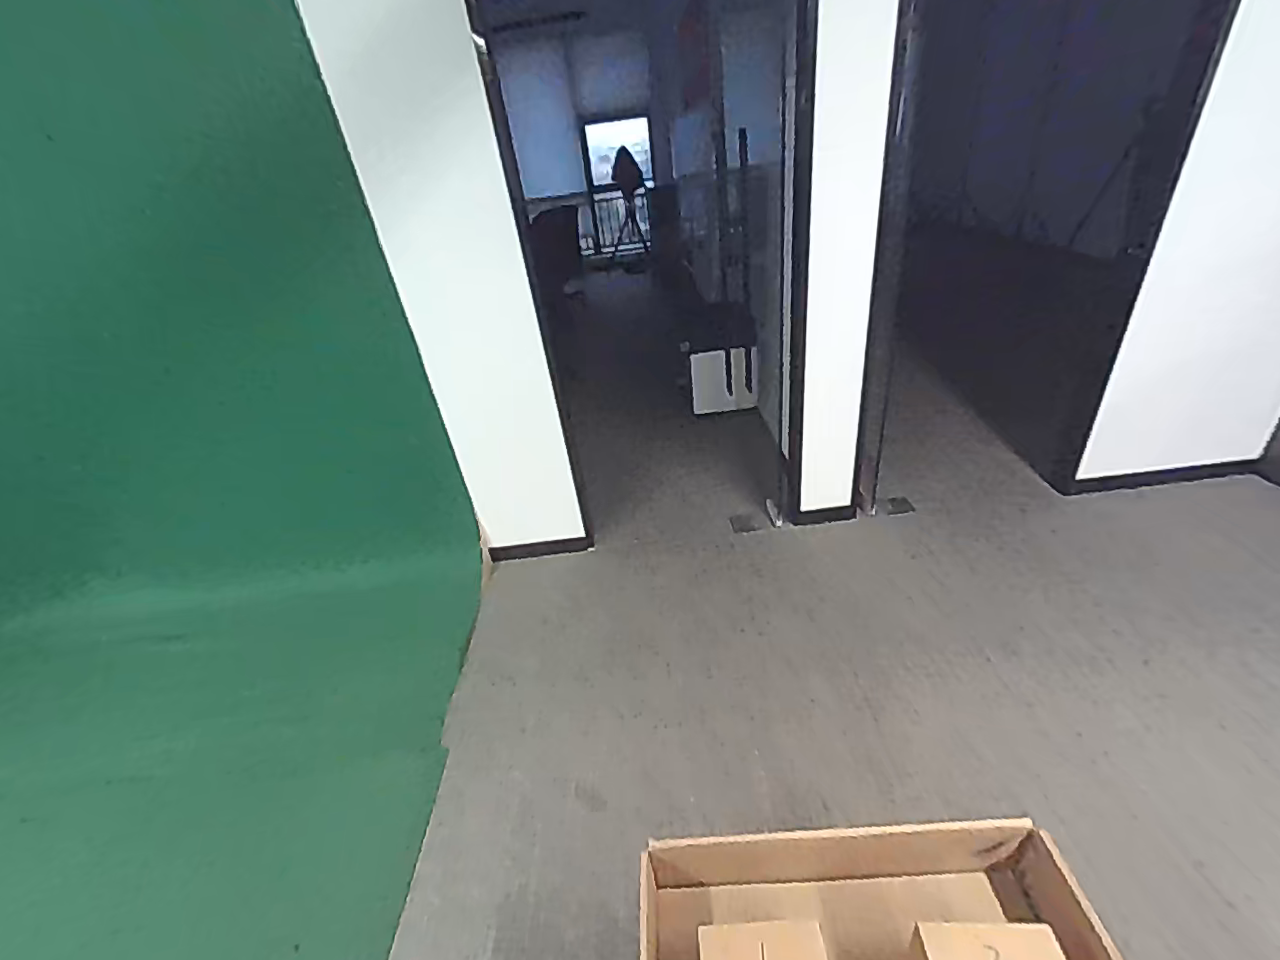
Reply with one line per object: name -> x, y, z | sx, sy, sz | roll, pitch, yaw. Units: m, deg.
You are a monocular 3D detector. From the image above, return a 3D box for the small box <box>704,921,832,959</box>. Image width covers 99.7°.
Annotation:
small box -> 0.179, 0.718, 0.703 | 0.168, 0.176, 0.179 | -7, 31, 4
